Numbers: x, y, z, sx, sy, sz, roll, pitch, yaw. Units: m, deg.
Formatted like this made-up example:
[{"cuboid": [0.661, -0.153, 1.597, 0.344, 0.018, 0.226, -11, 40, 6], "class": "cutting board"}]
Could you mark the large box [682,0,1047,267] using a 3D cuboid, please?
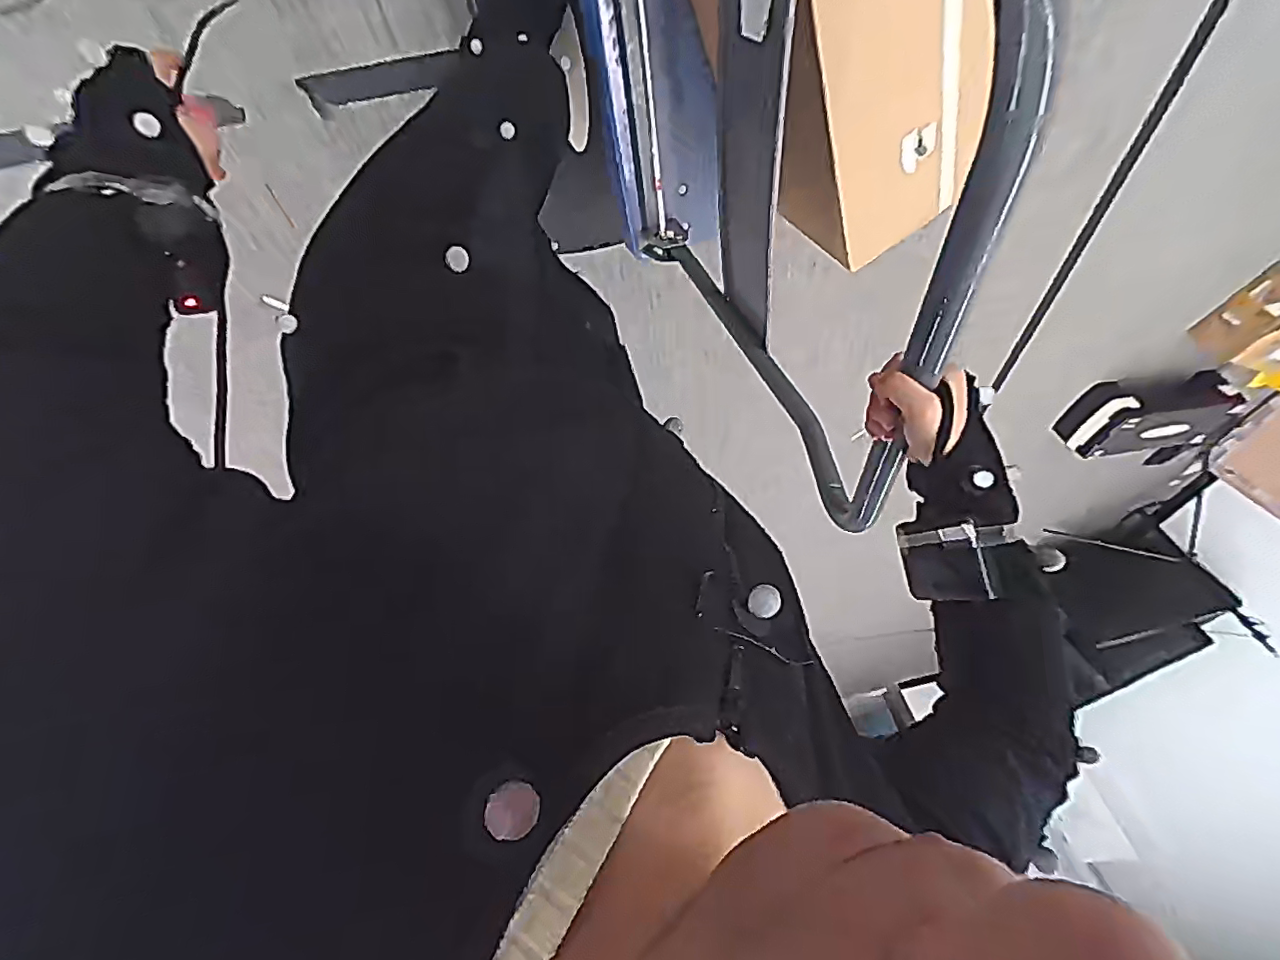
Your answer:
[{"cuboid": [0.290, -0.593, 0.729, 0.320, 0.320, 0.408, -34, 146, 8], "class": "large box"}]
